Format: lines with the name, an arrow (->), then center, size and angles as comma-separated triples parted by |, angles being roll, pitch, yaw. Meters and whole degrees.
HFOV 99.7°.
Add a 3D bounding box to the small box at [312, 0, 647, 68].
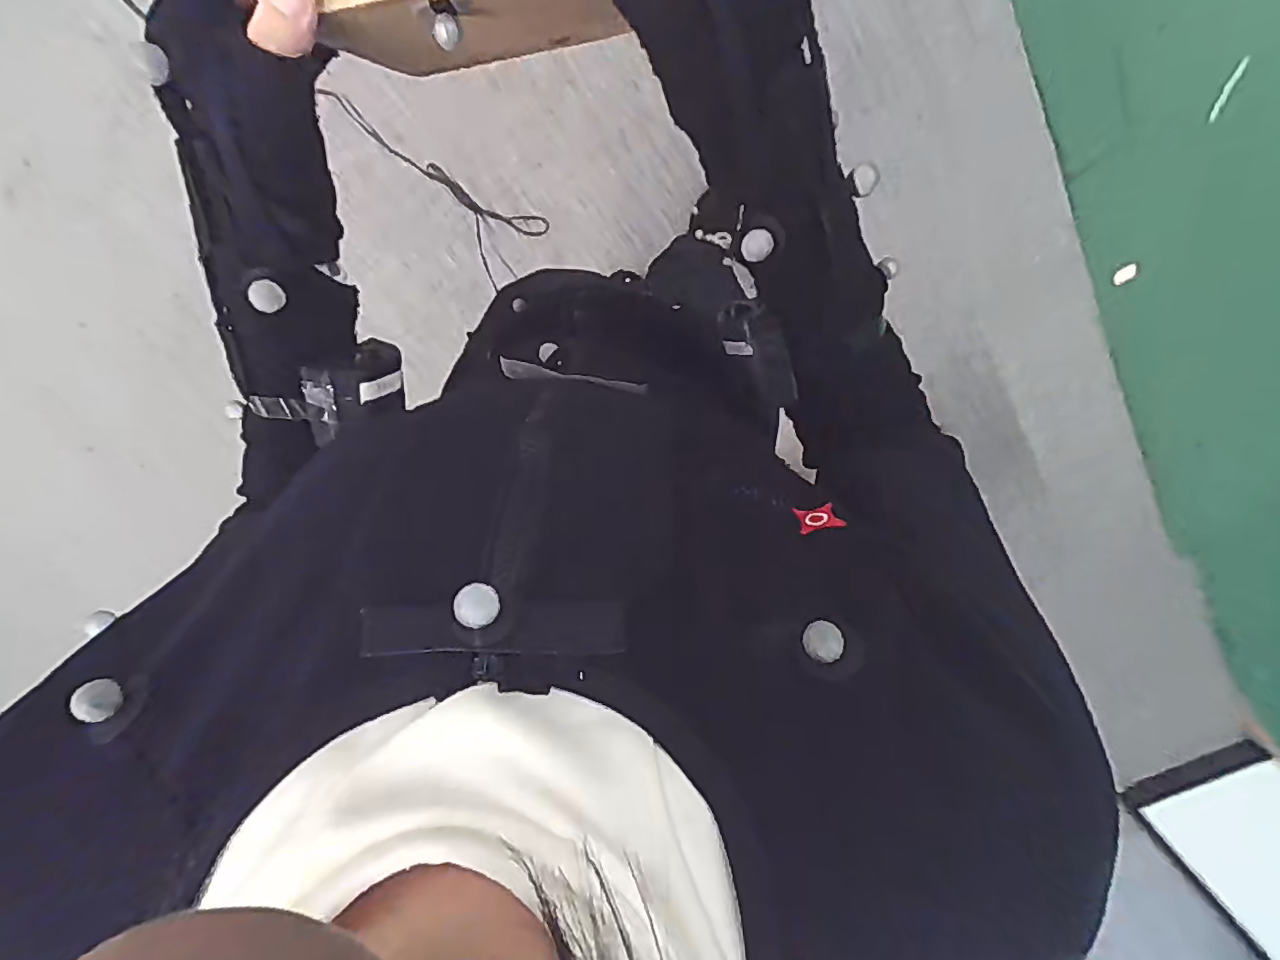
small box -> -0.086, -0.314, 0.235 | 0.168, 0.176, 0.179 | -9, 120, 5
